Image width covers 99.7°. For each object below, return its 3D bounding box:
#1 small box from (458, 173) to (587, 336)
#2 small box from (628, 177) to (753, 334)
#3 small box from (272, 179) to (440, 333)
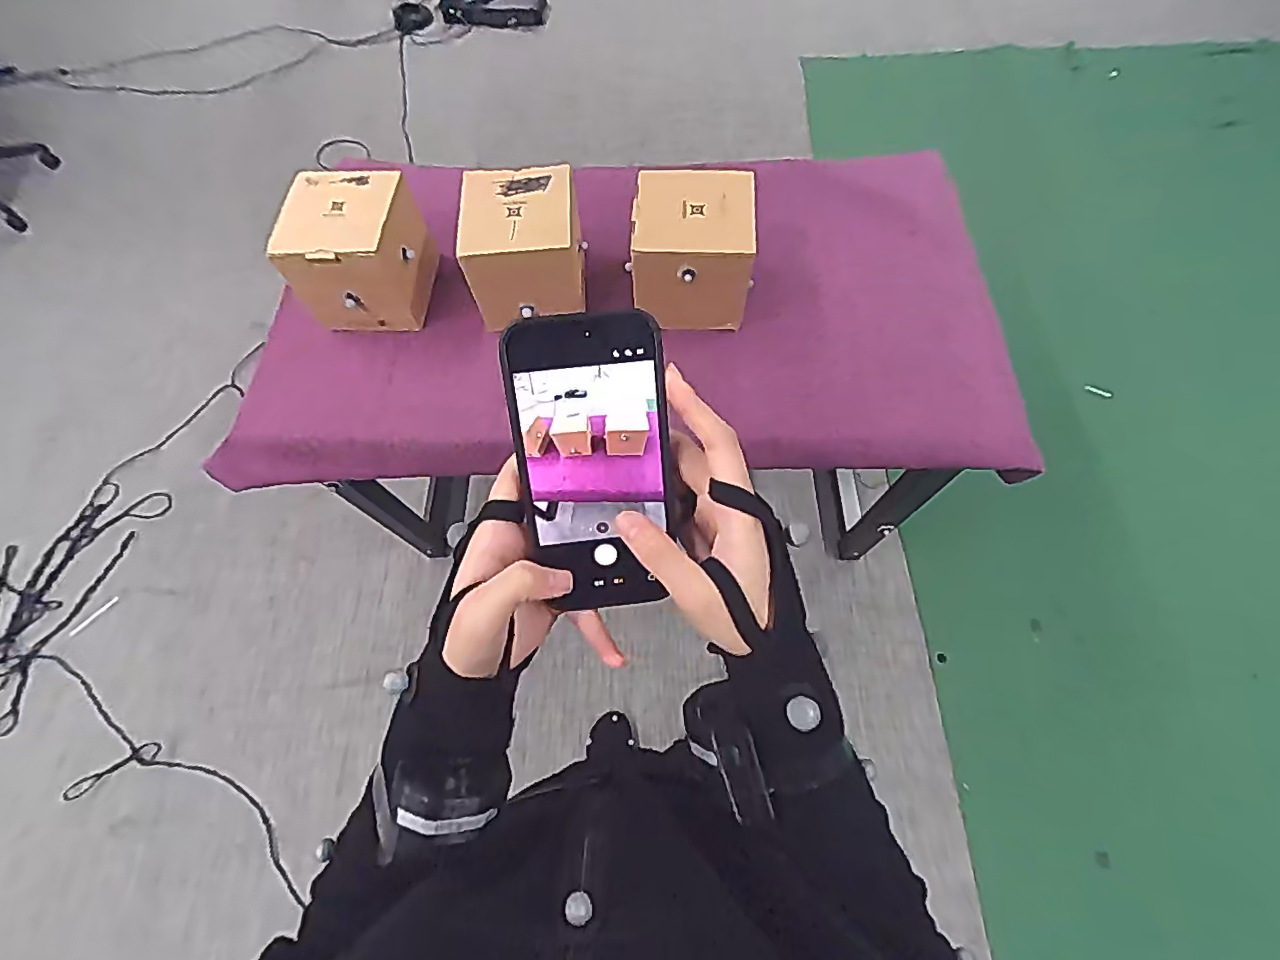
[{"bbox_3d":[-0.179,-0.358,0.873,0.168,0.176,0.179,-4,66,1],"label":"small box"},{"bbox_3d":[0.080,-0.349,0.858,0.179,0.176,0.168,3,66,4],"label":"small box"},{"bbox_3d":[-0.447,-0.358,0.885,0.168,0.176,0.179,1,66,3],"label":"small box"}]
